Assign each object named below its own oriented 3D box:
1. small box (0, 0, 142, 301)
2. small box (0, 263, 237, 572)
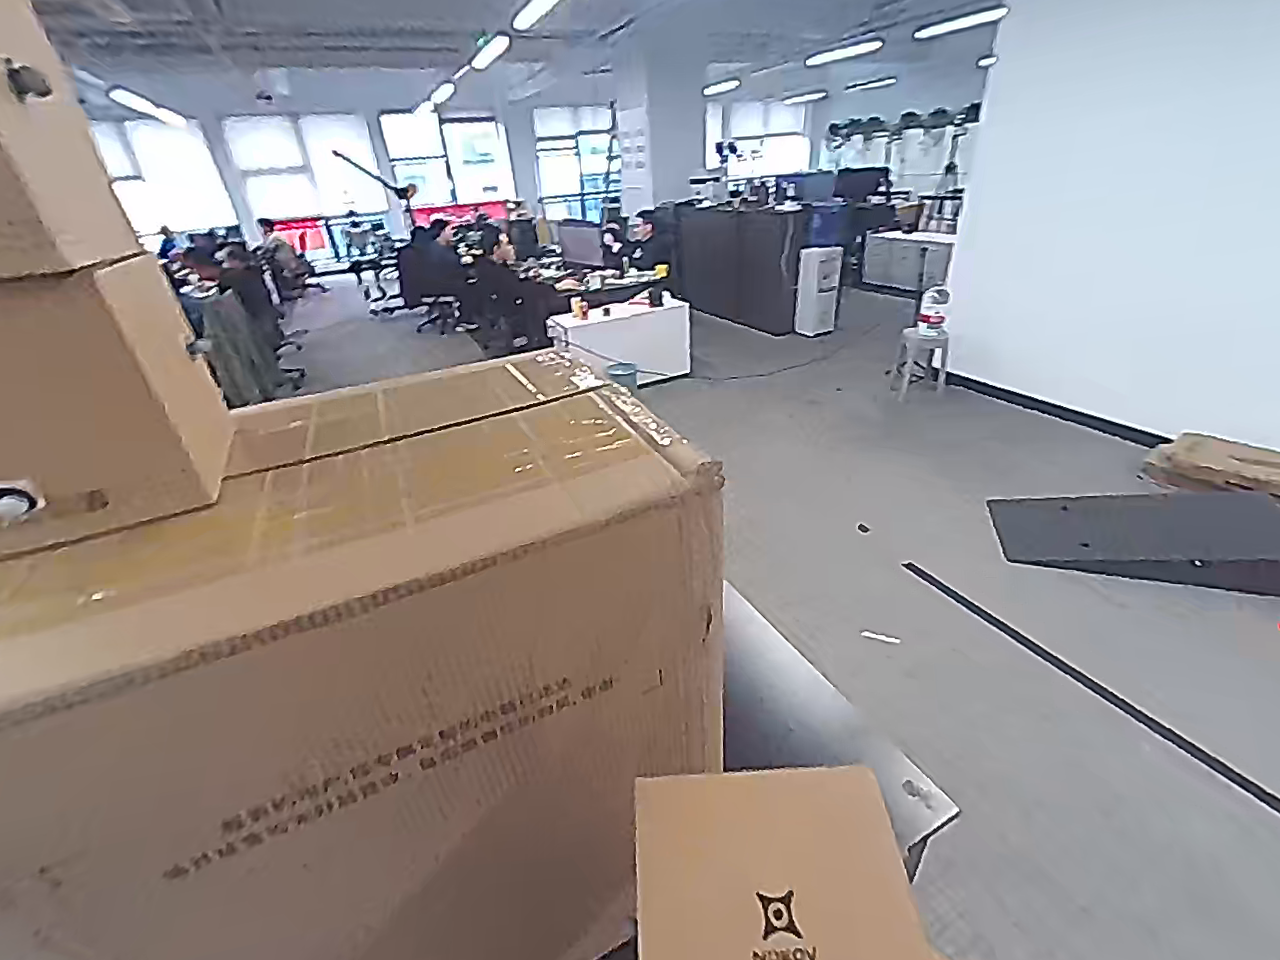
[{"bbox_3d":[-0.436,-0.190,0.306,0.168,0.176,0.179,-19,32,-23],"label":"small box"},{"bbox_3d":[-0.429,-0.054,0.399,0.168,0.176,0.179,-20,33,-24],"label":"small box"}]
